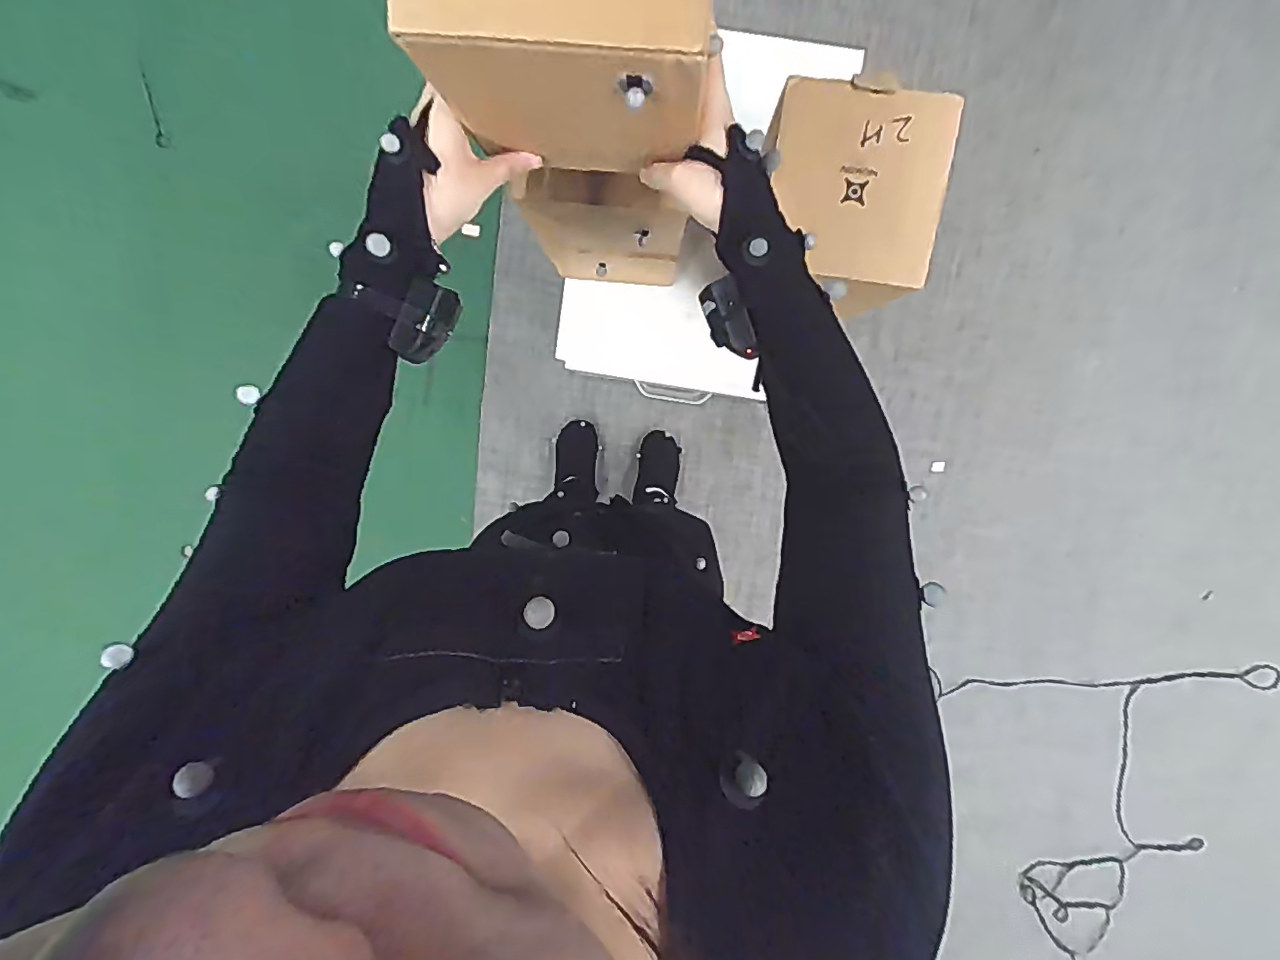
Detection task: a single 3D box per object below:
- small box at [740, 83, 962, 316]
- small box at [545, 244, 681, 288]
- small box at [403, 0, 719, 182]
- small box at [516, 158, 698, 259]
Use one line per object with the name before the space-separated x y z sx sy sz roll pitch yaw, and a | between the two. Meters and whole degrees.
small box | 0.212 -0.288 0.598 0.168 0.176 0.179 9 99 1
small box | -0.028 -0.375 0.760 0.179 0.176 0.168 5 99 -1
small box | -0.036 -0.324 0.367 0.179 0.176 0.168 5 99 1
small box | -0.030 -0.352 0.597 0.179 0.176 0.168 3 98 0
